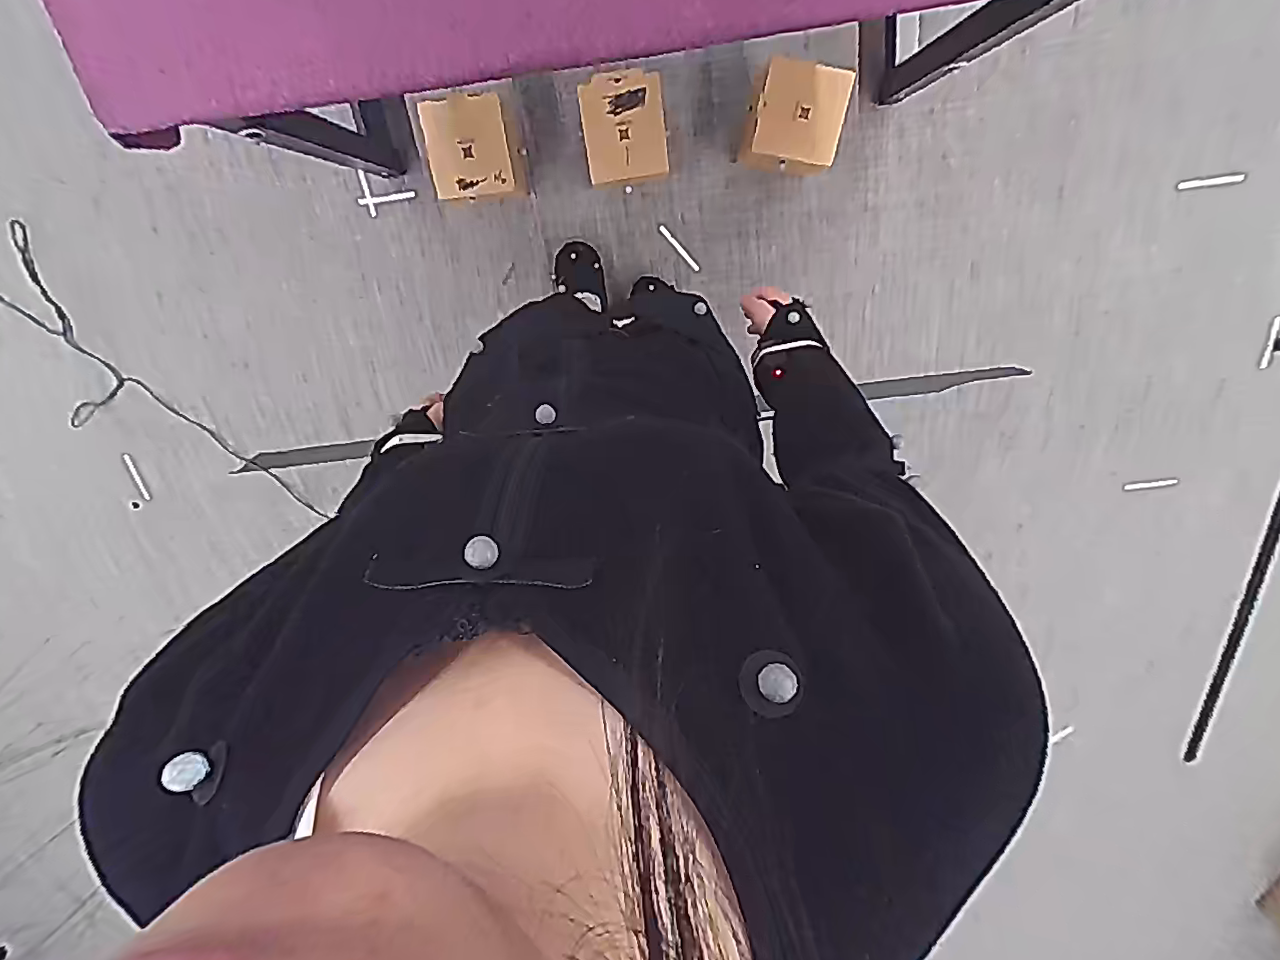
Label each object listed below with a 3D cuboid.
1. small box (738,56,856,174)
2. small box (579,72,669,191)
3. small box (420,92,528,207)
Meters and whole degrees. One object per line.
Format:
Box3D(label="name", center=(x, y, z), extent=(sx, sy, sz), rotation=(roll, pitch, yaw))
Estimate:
Box3D(label="small box", center=(0.323, -0.765, 1.151), extent=(0.179, 0.176, 0.168), rotation=(9, 113, -4))
Box3D(label="small box", center=(-0.033, -0.734, 1.155), extent=(0.168, 0.176, 0.179), rotation=(-8, 114, 2))
Box3D(label="small box", center=(-0.347, -0.701, 1.164), extent=(0.168, 0.176, 0.179), rotation=(-5, 112, 1))
